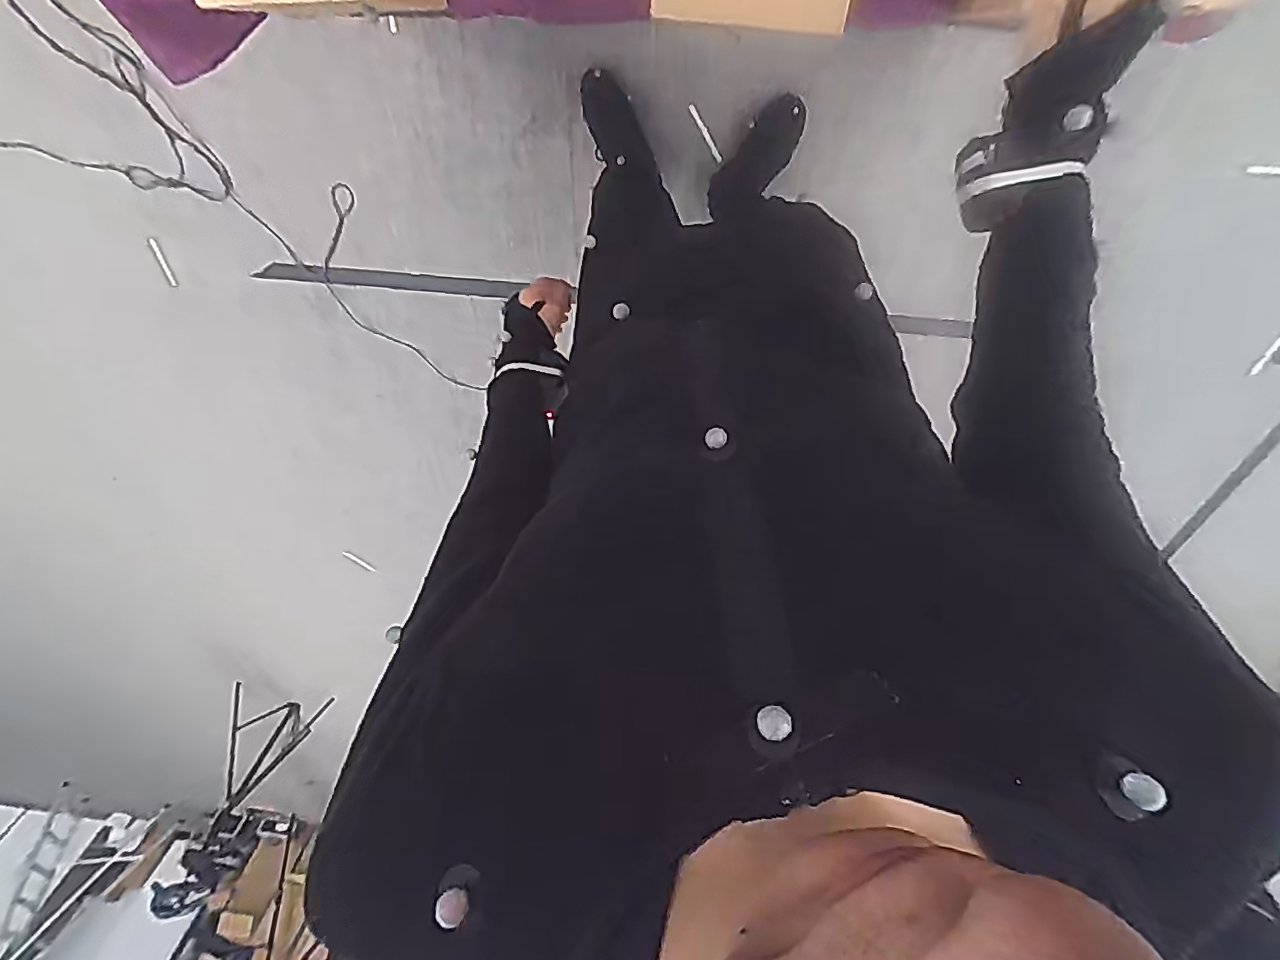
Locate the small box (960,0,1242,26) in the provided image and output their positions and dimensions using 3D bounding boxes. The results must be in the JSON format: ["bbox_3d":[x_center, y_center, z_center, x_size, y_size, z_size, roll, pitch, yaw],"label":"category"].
[{"bbox_3d":[0.392,-0.486,0.436,0.168,0.176,0.179,5,129,6],"label":"small box"}]
